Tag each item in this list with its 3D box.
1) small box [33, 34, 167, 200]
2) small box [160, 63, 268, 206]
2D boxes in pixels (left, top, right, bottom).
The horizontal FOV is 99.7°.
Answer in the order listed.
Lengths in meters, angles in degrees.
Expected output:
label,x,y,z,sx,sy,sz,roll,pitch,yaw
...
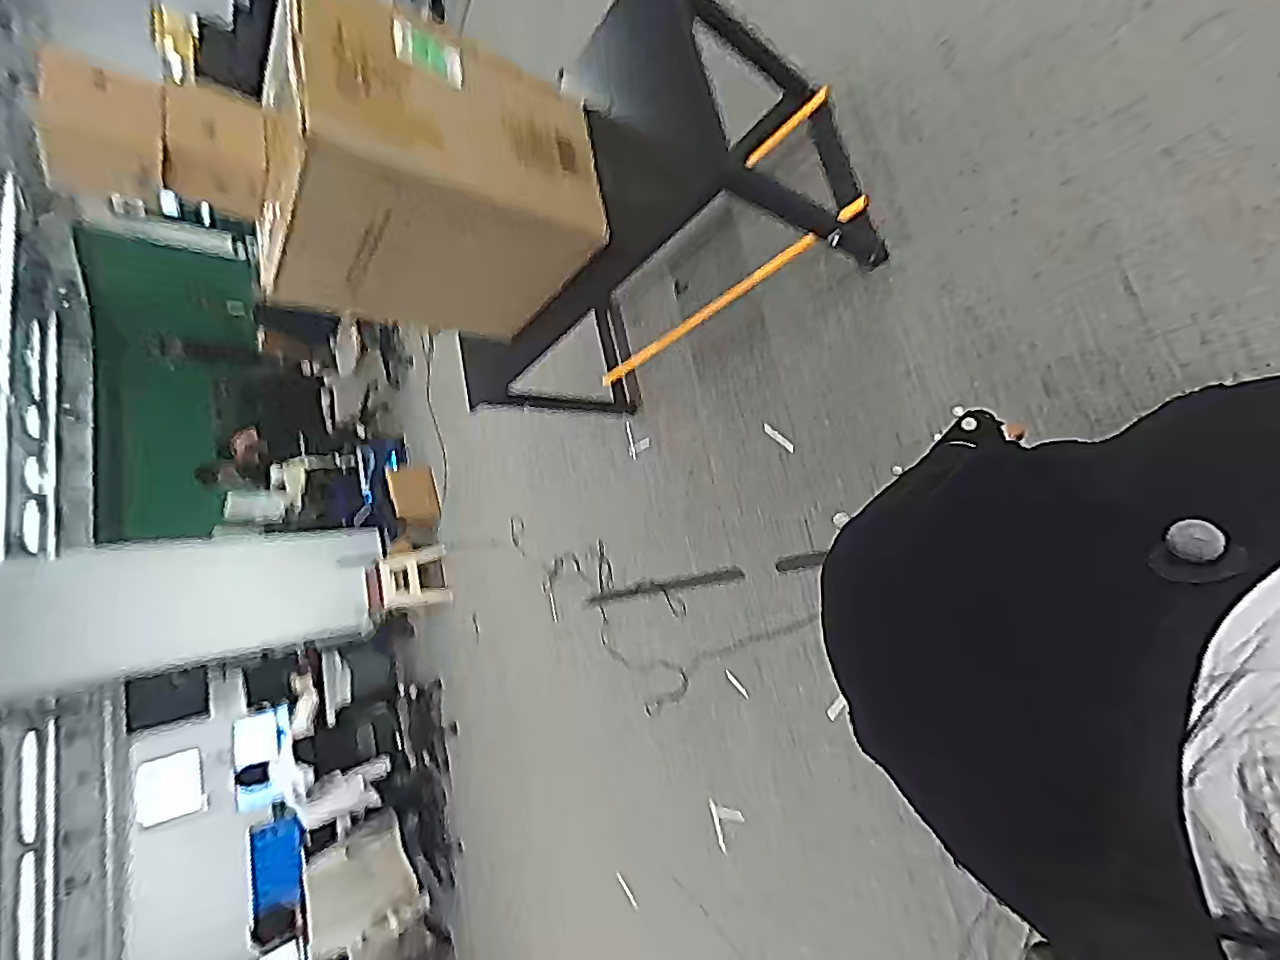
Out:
label,x,y,z,sx,sy,sz,roll,pitch,yaw
small box,-1.024,-0.680,1.038,0.168,0.176,0.179,-28,71,46
small box,-0.906,-0.716,1.151,0.168,0.176,0.179,-23,74,46
